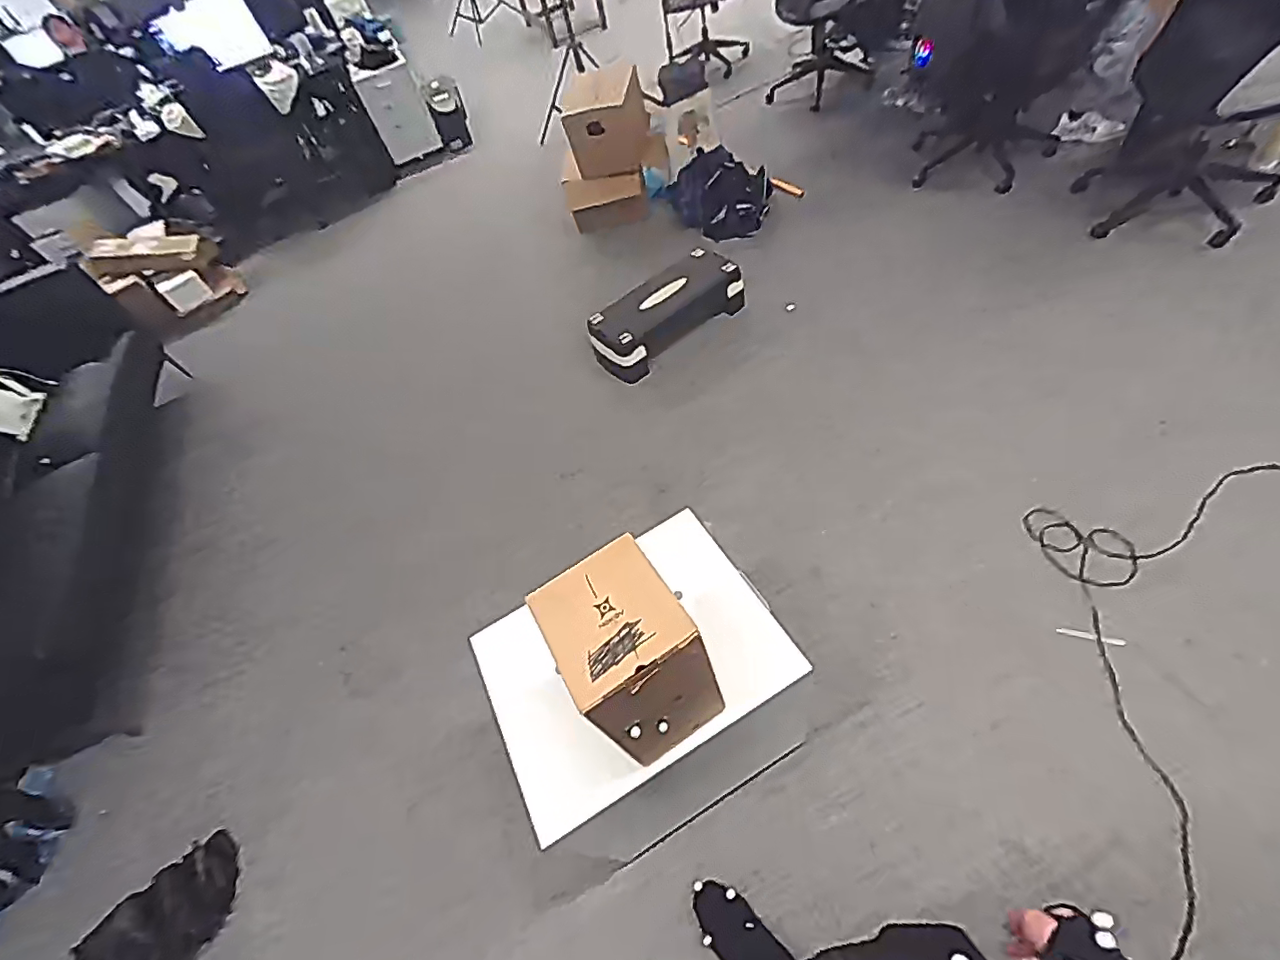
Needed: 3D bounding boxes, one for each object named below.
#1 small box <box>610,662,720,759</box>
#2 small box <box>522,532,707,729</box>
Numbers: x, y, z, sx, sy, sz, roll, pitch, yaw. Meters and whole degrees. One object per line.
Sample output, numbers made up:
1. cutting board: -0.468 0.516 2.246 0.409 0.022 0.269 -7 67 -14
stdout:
1. small box: 0.008 0.308 0.859 0.168 0.176 0.179 -33 52 -10
2. small box: -0.027 0.210 0.730 0.168 0.176 0.179 -32 51 -10
